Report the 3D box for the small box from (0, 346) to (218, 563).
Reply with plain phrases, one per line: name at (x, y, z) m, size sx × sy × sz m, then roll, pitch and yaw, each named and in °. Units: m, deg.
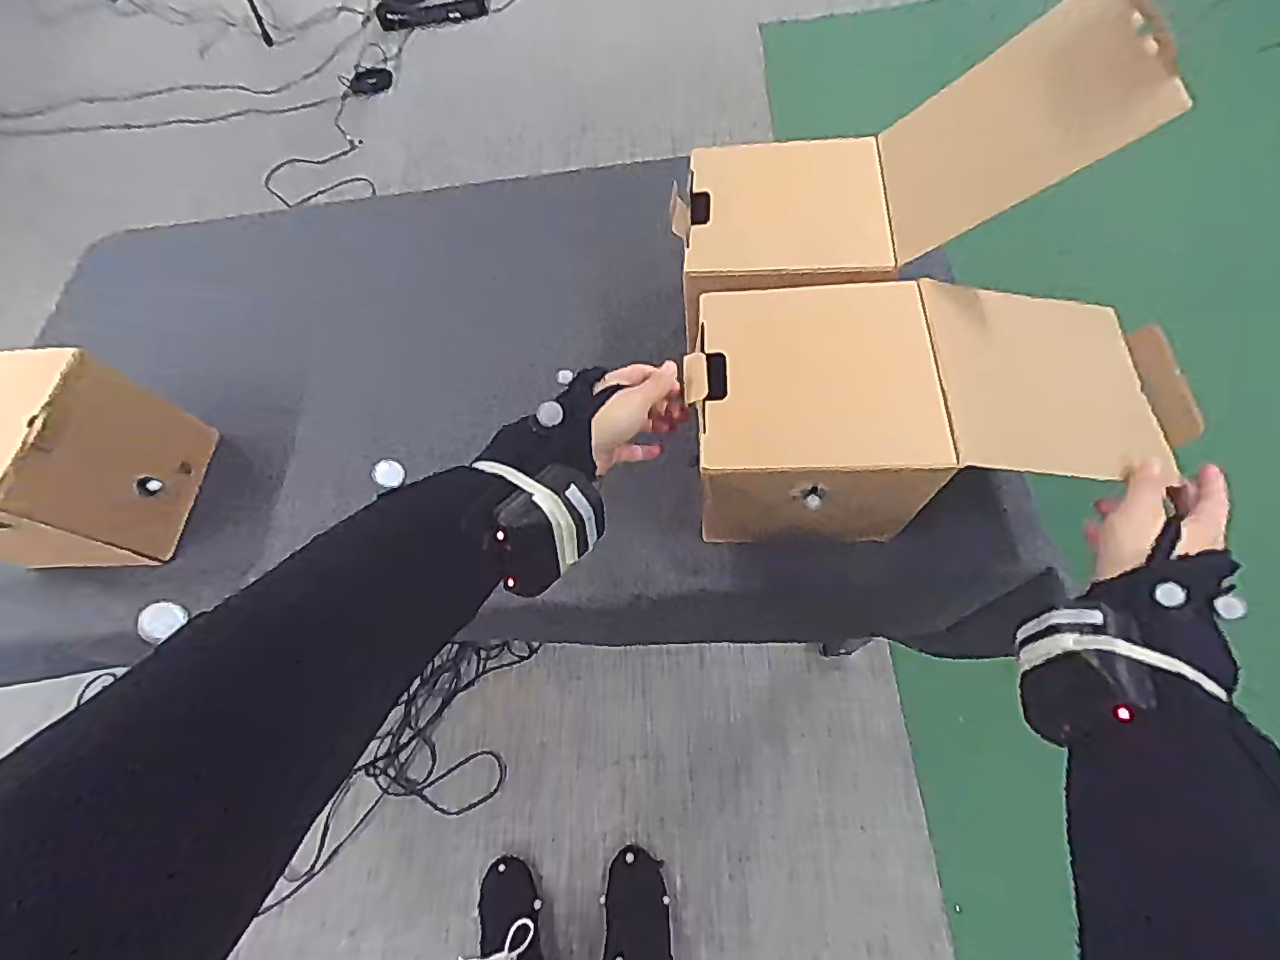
small box at (-0.604, -0.016, 0.559) m, size 0.179 × 0.176 × 0.168 m, roll -2°, pitch 64°, yaw 6°
